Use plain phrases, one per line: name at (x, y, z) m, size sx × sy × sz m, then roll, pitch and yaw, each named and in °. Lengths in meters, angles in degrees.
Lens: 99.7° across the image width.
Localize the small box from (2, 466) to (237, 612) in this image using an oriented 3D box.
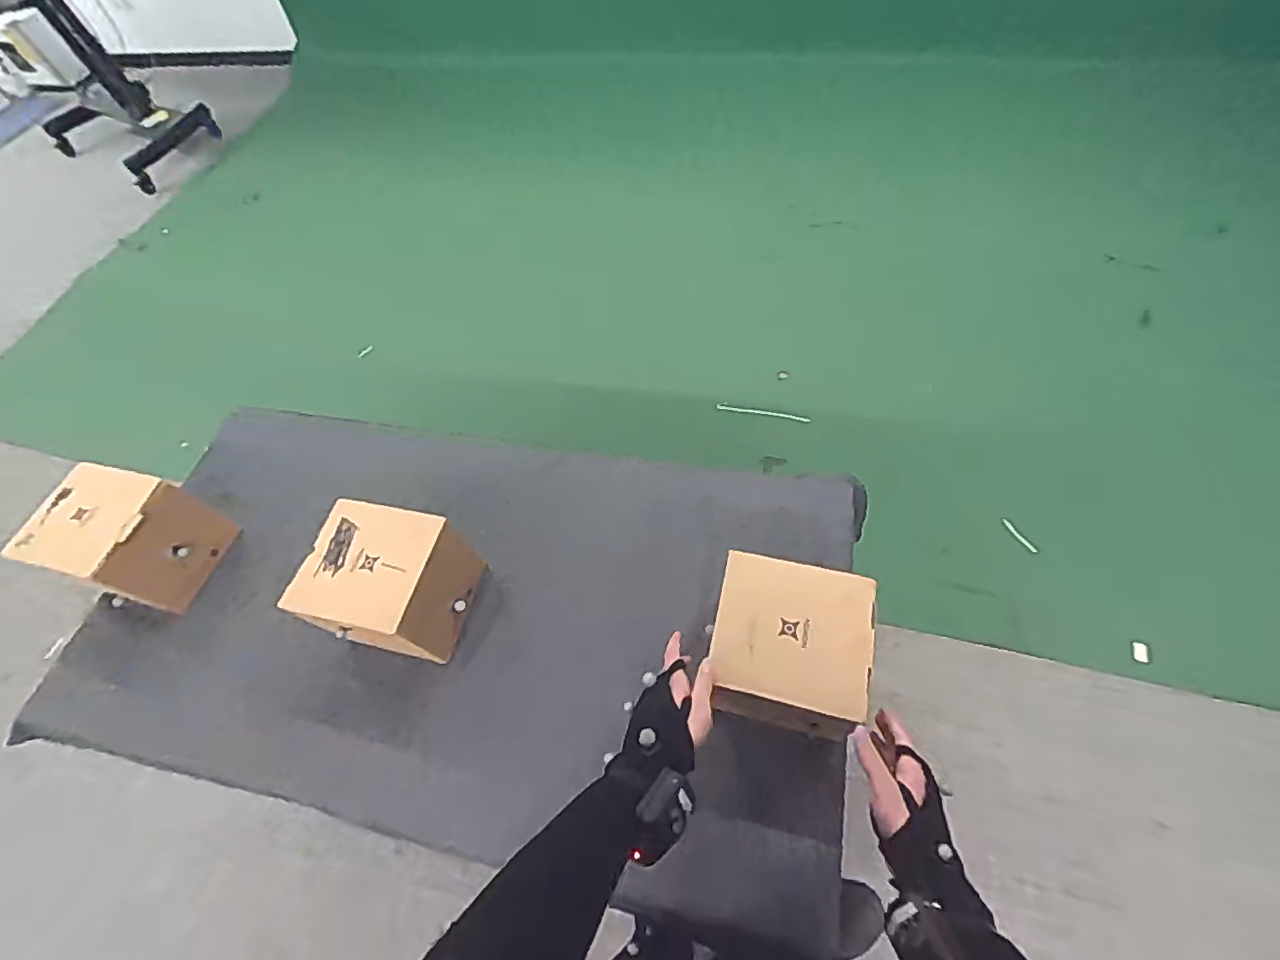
small box at (-0.815, 0.101, 0.872) m, size 0.179 × 0.176 × 0.168 m, roll 11°, pitch 61°, yaw 12°

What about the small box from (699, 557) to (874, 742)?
small box at (0.178, 0.218, 0.678) m, size 0.179 × 0.176 × 0.168 m, roll 9°, pitch 60°, yaw 14°

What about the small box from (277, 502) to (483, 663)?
small box at (-0.359, 0.153, 0.784) m, size 0.179 × 0.176 × 0.168 m, roll 10°, pitch 61°, yaw 11°
